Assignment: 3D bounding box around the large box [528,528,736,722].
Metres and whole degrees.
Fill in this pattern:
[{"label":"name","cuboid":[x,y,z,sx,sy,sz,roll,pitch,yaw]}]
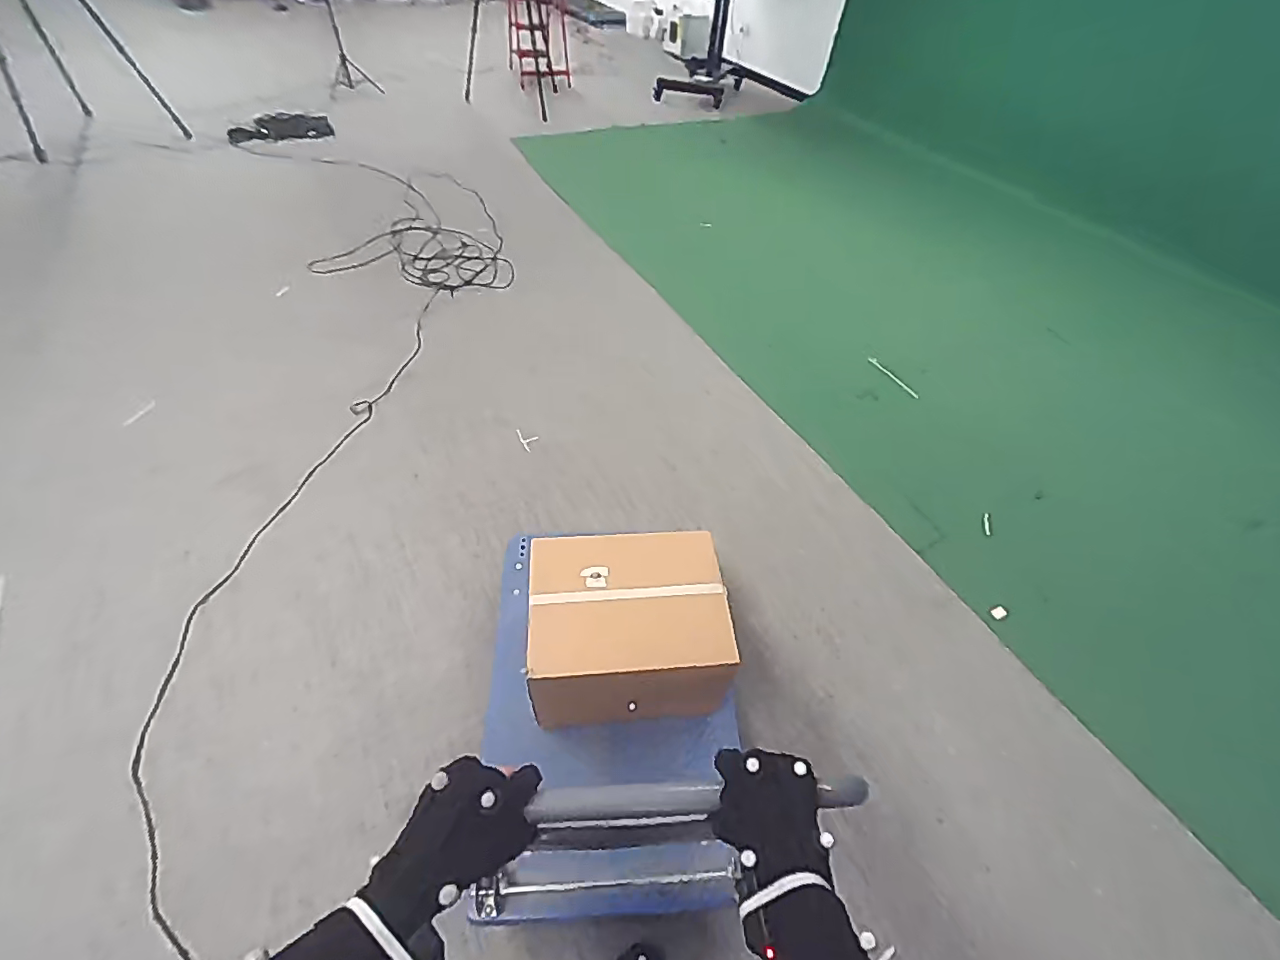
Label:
[{"label":"large box","cuboid":[-0.033,0.332,1.226,0.408,0.320,0.320,-2,49,-6]}]
